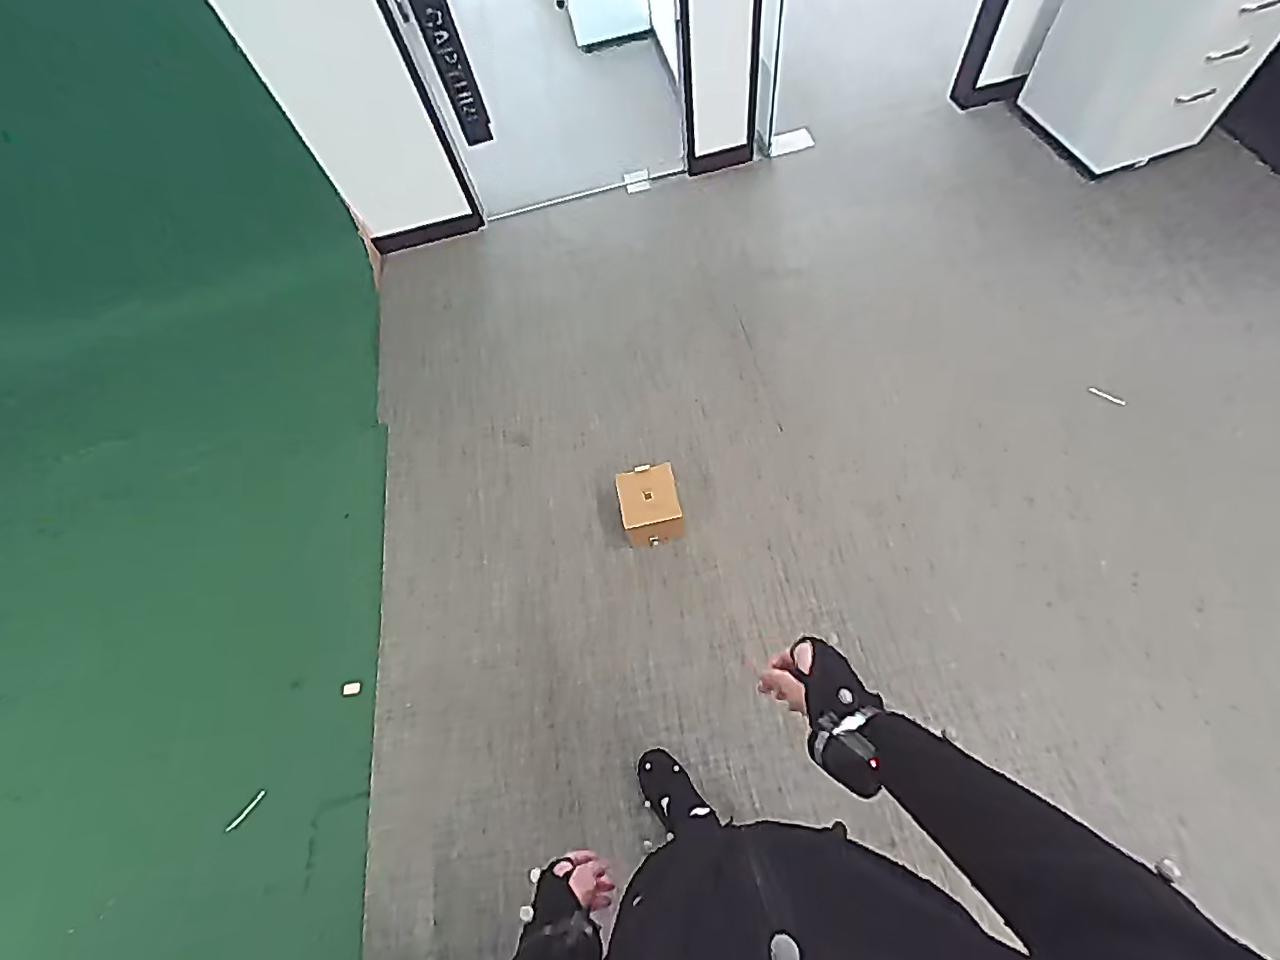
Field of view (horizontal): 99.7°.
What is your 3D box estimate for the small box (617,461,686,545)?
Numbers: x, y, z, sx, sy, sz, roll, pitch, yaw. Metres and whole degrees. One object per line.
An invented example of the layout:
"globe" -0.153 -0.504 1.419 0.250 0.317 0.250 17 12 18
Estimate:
"small box" 0.036 0.069 1.569 0.168 0.176 0.179 -11 63 5
